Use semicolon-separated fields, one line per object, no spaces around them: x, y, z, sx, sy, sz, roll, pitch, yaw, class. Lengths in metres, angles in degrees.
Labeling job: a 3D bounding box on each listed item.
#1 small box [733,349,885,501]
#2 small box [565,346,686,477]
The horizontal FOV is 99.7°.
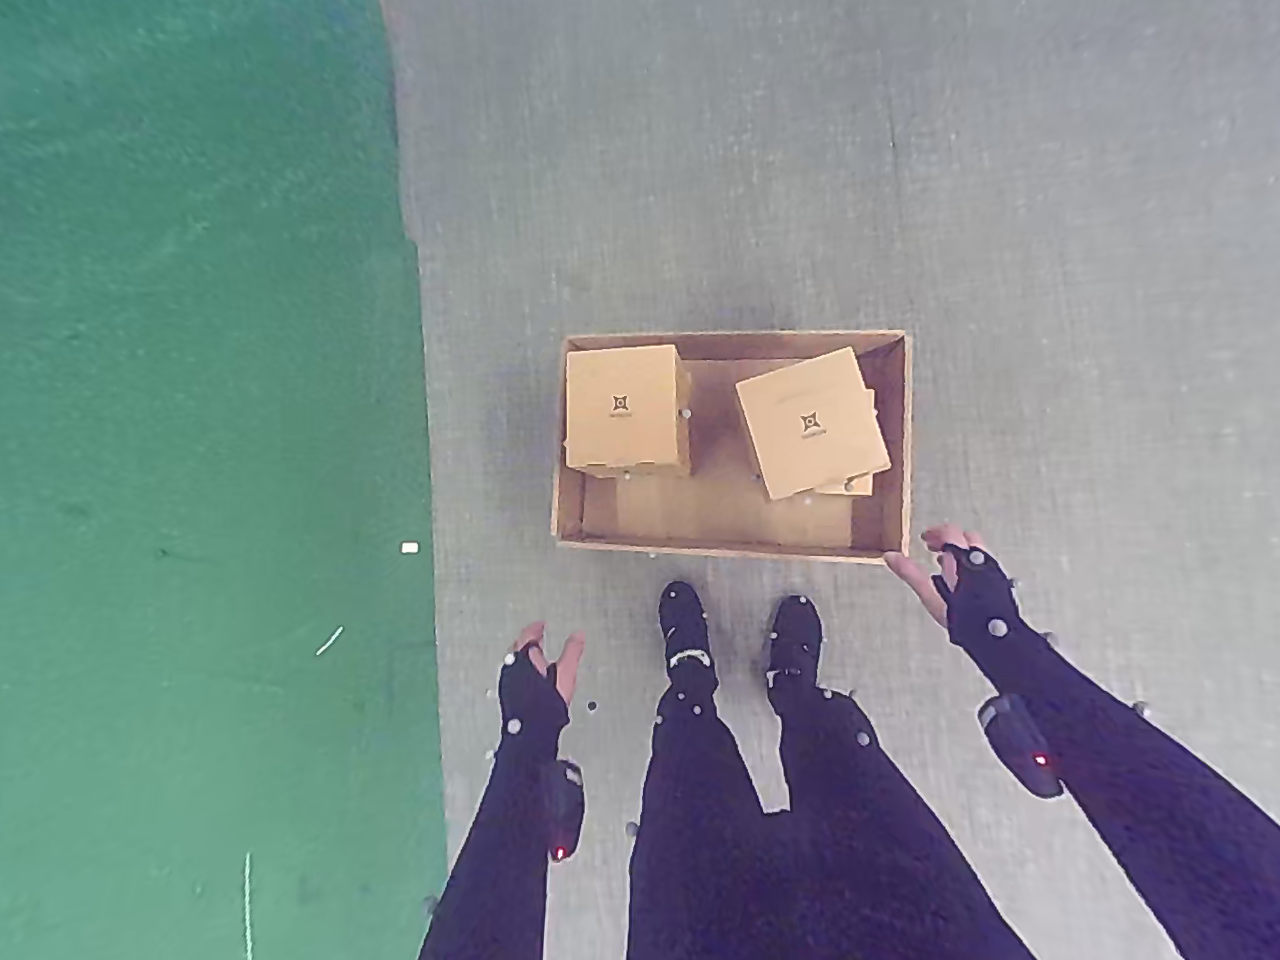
0.244;-0.071;0.816;0.168;0.176;0.179;-16;82;9;small box
-0.016;-0.101;0.872;0.168;0.176;0.179;-2;85;11;small box
